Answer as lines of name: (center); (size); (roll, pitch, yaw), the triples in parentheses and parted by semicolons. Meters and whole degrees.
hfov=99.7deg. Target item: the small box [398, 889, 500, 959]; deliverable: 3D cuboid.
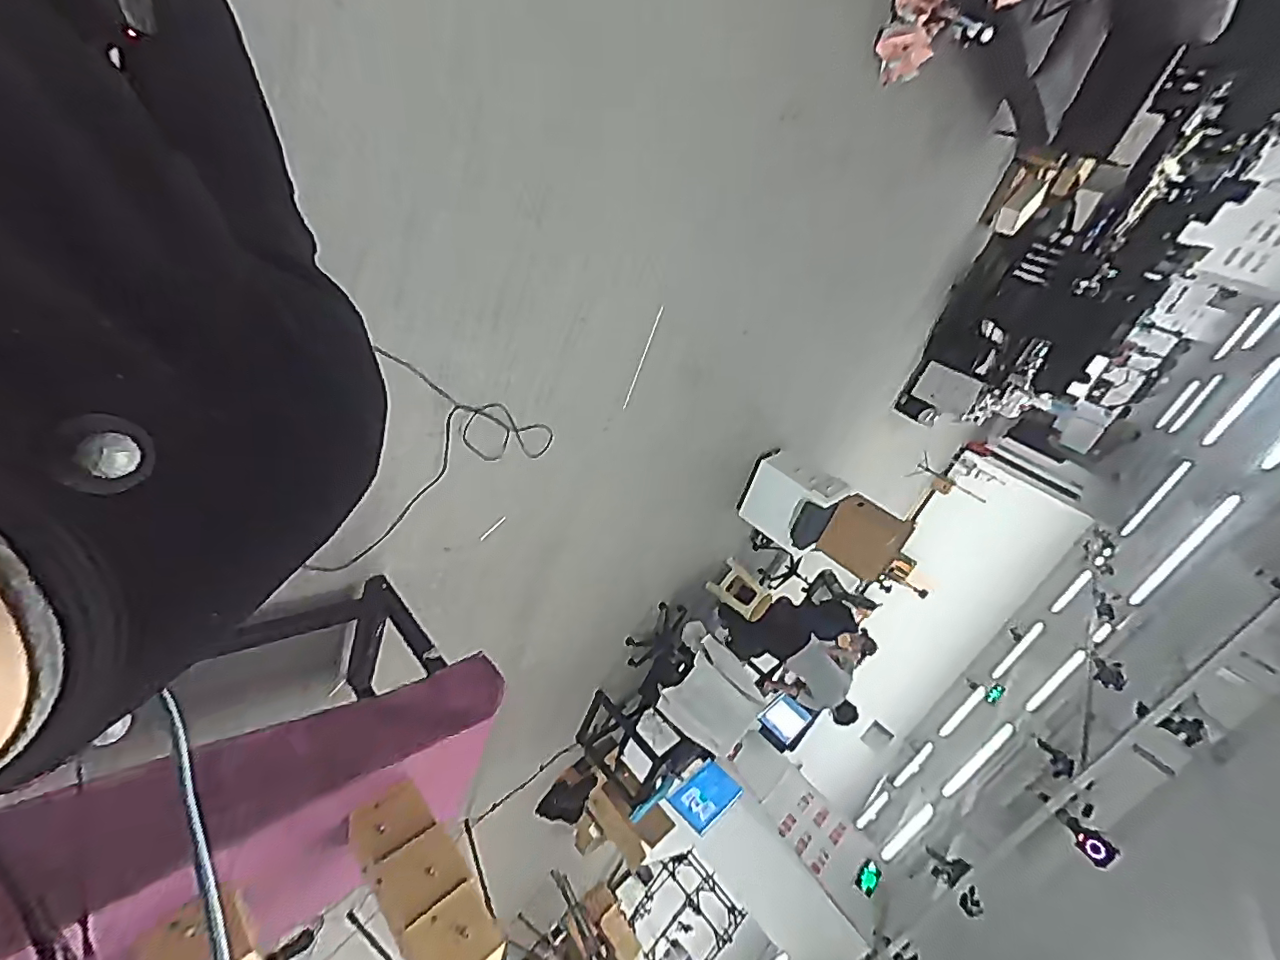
small box: (-0.450, 1.110, 1.263); (0.168, 0.176, 0.179); (-18, 137, -41)

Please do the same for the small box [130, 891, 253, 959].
small box: (-0.950, 1.039, 1.159); (0.168, 0.176, 0.179); (-21, 138, -41)

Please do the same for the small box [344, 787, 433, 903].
small box: (-0.677, 0.965, 1.450); (0.168, 0.176, 0.179); (-14, 134, -44)

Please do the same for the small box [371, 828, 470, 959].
small box: (-0.557, 1.032, 1.357); (0.179, 0.176, 0.168); (-15, 134, -45)
